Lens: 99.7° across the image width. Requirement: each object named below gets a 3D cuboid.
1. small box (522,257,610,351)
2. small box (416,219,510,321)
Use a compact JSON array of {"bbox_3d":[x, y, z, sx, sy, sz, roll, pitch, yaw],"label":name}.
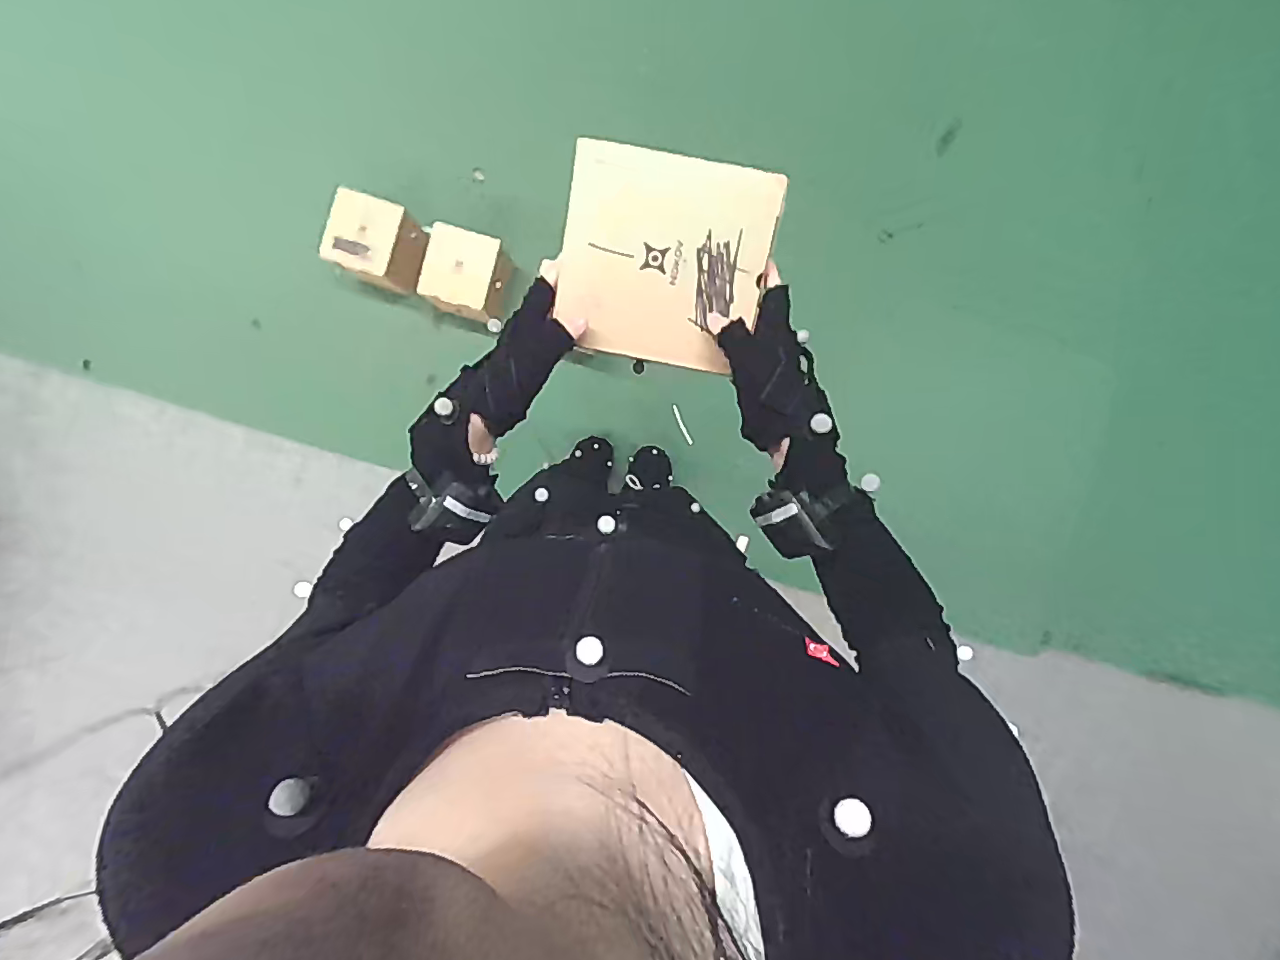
[{"bbox_3d":[-0.181,-0.441,1.389,0.179,0.176,0.168,19,93,-3],"label":"small box"},{"bbox_3d":[-0.442,-0.528,1.381,0.168,0.176,0.179,16,94,-2],"label":"small box"}]
